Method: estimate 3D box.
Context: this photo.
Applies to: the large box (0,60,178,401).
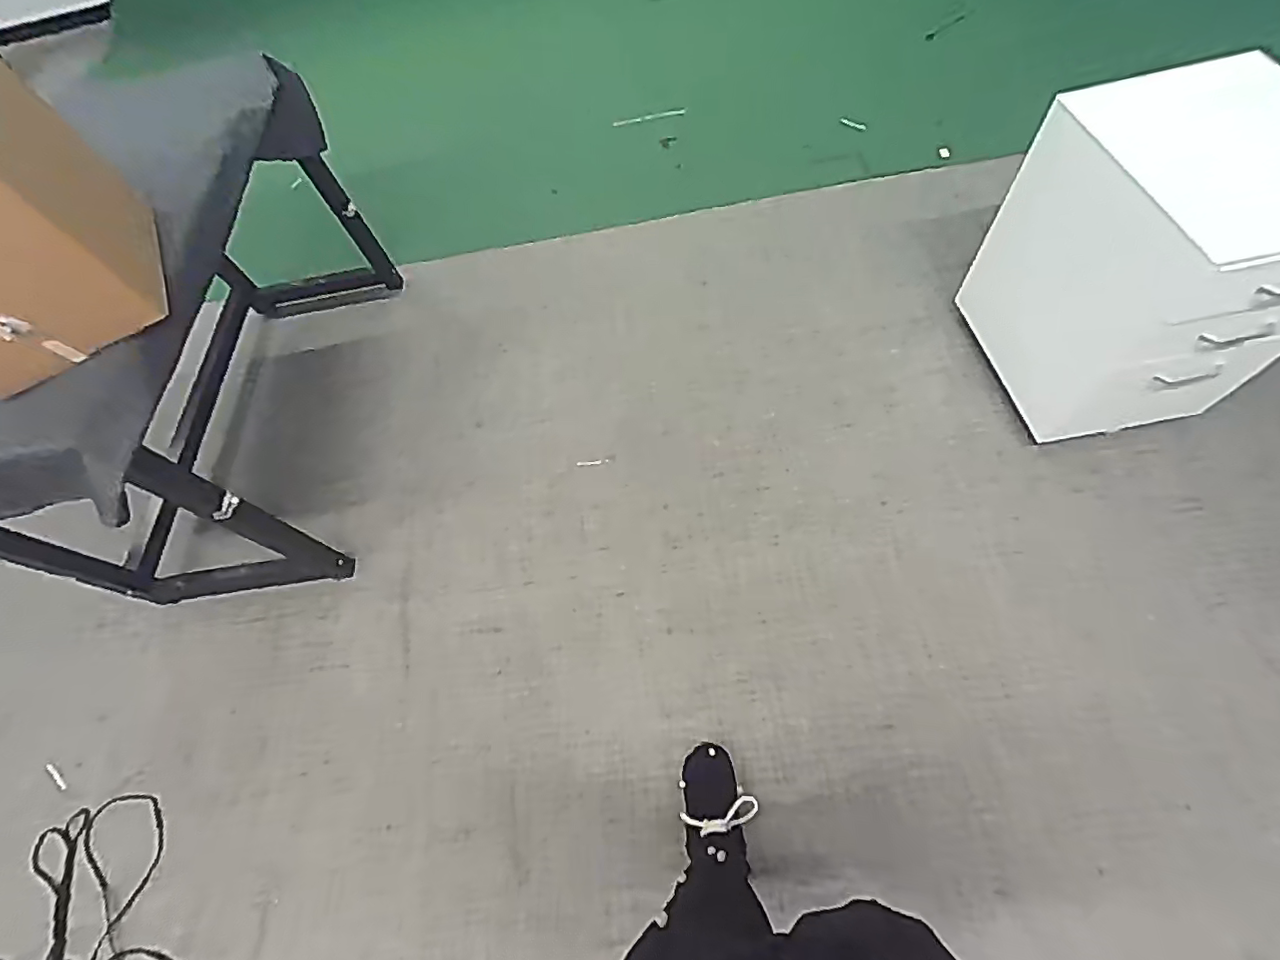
[{"bbox_3d":[-1.057,-0.411,0.894,0.320,0.320,0.408,-31,60,-8],"label":"large box"}]
